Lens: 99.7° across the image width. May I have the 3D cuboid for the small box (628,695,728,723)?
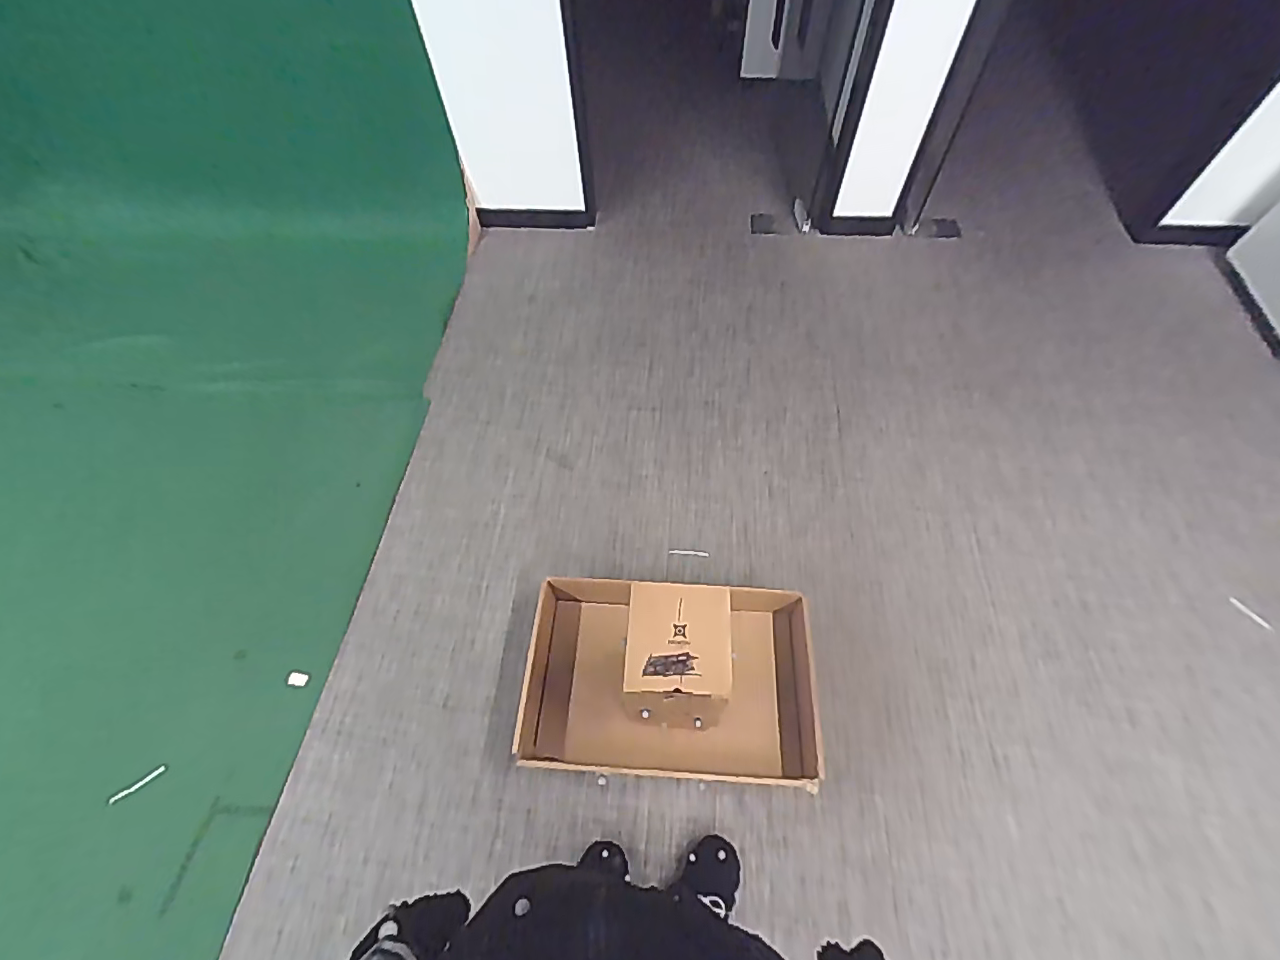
[{"bbox_3d":[0.069,0.370,1.048,0.179,0.176,0.168,0,58,2],"label":"small box"}]

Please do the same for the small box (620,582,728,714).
[{"bbox_3d":[0.061,0.291,0.922,0.168,0.176,0.179,2,57,4],"label":"small box"}]
